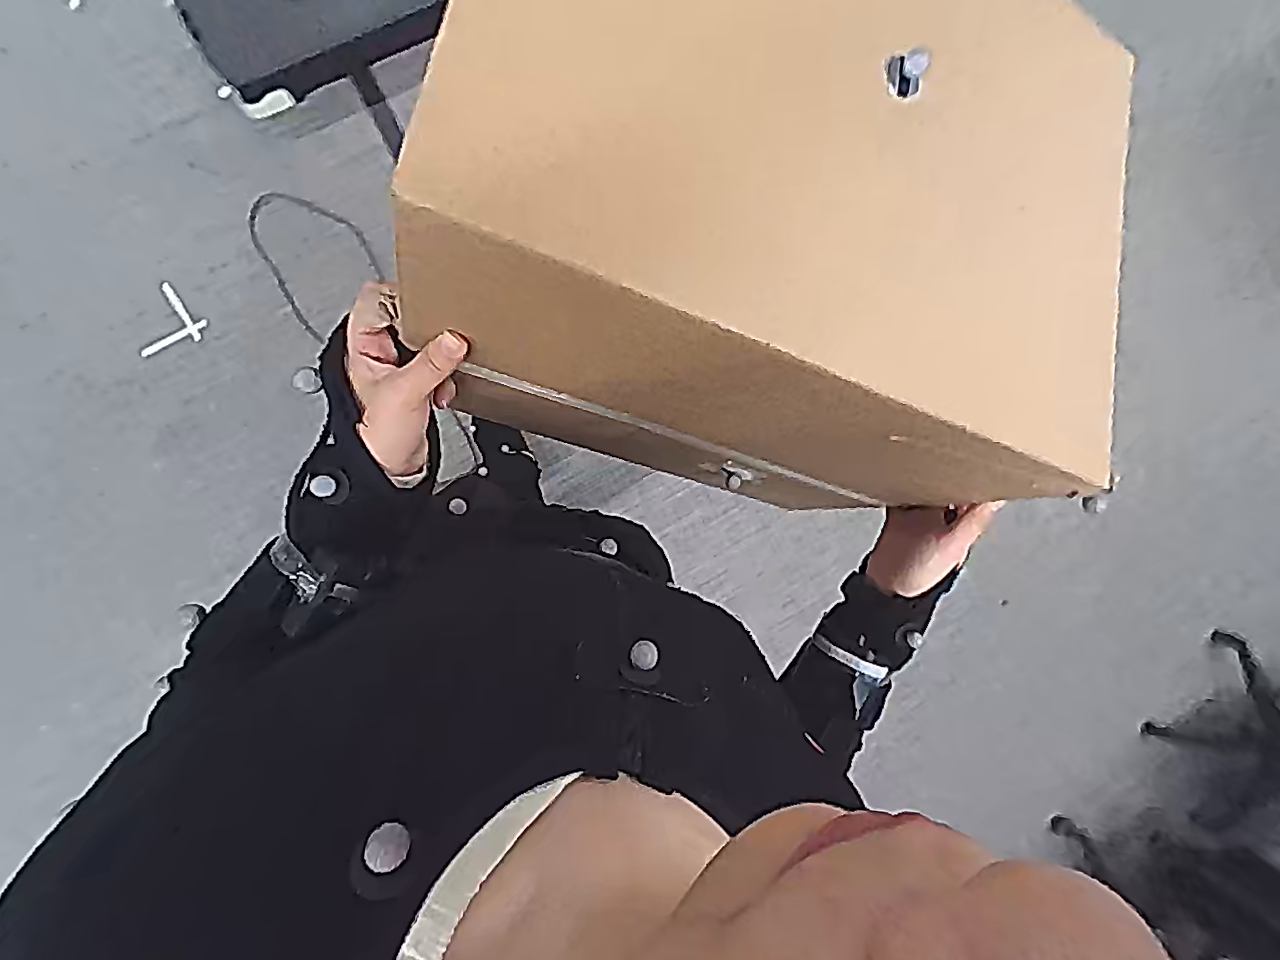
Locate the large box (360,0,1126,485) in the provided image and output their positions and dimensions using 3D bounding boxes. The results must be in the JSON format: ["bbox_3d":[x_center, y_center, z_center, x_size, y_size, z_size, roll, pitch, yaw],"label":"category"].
[{"bbox_3d":[0.060,-0.196,0.403,0.408,0.320,0.320,13,82,-20],"label":"large box"}]
